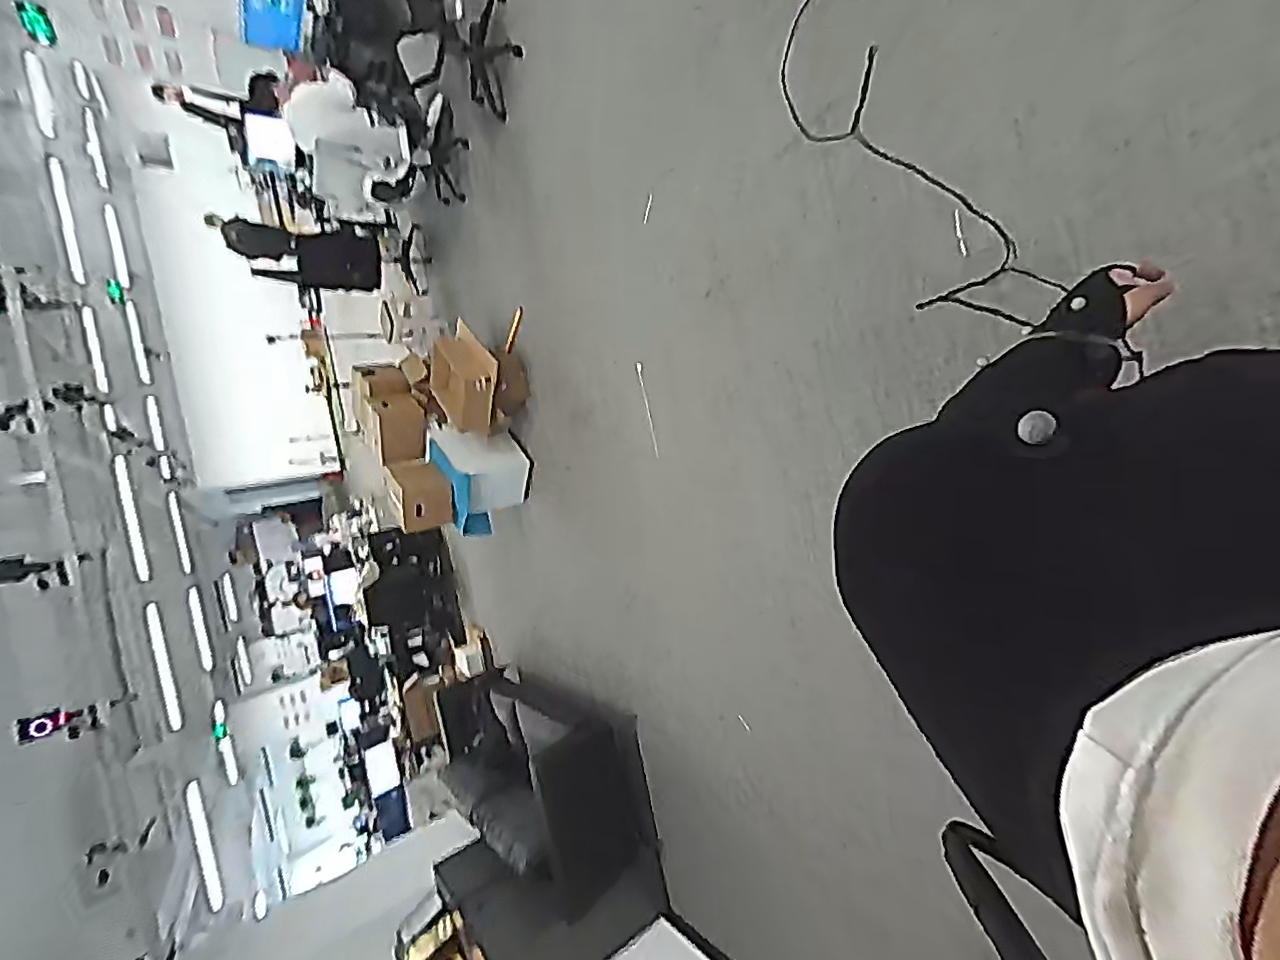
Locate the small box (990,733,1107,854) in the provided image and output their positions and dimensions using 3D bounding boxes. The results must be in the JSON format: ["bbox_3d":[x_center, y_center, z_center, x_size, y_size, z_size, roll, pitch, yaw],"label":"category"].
[{"bbox_3d":[0.988,0.744,1.309,0.179,0.176,0.168,-6,97,54],"label":"small box"}]

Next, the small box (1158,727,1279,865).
[{"bbox_3d":[1.269,0.673,1.178,0.168,0.176,0.179,-7,94,56],"label":"small box"}]

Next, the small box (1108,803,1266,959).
[{"bbox_3d":[1.007,0.736,0.994,0.179,0.176,0.168,-10,92,54],"label":"small box"}]

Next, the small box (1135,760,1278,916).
[{"bbox_3d":[1.138,0.701,1.088,0.168,0.176,0.179,-12,91,55],"label":"small box"}]
